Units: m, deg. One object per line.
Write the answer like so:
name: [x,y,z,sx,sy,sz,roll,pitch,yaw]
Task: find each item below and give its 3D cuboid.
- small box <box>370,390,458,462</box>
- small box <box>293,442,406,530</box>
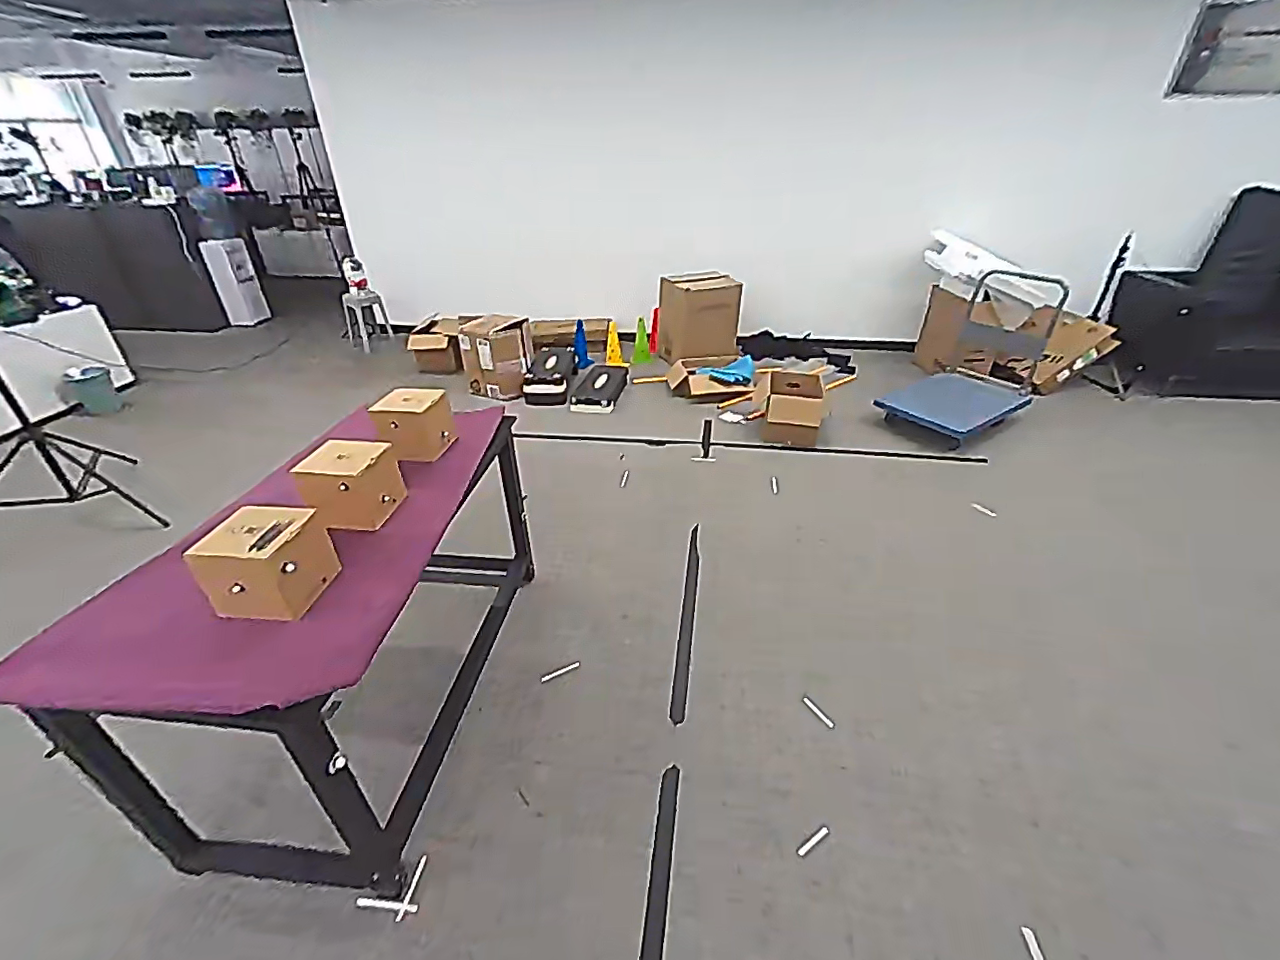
small box: [-0.693,-0.167,1.676,0.179,0.176,0.168,3,33,8]
small box: [-0.736,0.015,1.392,0.179,0.176,0.168,3,32,6]
